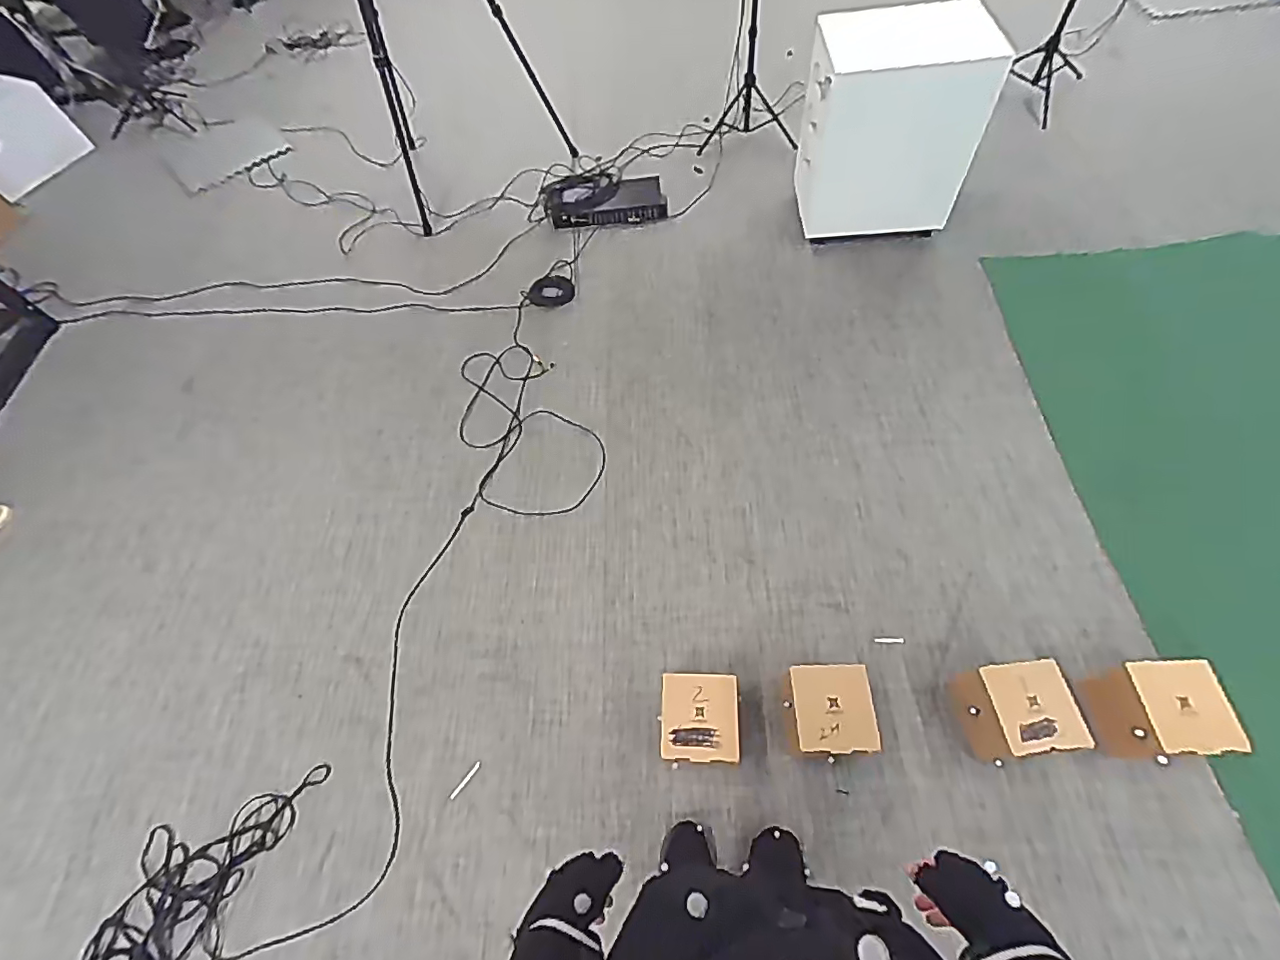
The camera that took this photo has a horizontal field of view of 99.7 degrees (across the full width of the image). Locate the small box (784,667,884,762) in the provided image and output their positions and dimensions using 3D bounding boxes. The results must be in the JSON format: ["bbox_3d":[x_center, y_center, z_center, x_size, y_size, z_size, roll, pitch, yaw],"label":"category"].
[{"bbox_3d":[0.425,0.529,1.217,0.168,0.176,0.179,-3,59,6],"label":"small box"}]

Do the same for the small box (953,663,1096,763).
[{"bbox_3d":[0.826,0.515,1.185,0.168,0.176,0.179,-7,58,2],"label":"small box"}]

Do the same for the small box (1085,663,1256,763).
[{"bbox_3d":[1.118,0.503,1.162,0.168,0.176,0.179,-4,59,5],"label":"small box"}]
